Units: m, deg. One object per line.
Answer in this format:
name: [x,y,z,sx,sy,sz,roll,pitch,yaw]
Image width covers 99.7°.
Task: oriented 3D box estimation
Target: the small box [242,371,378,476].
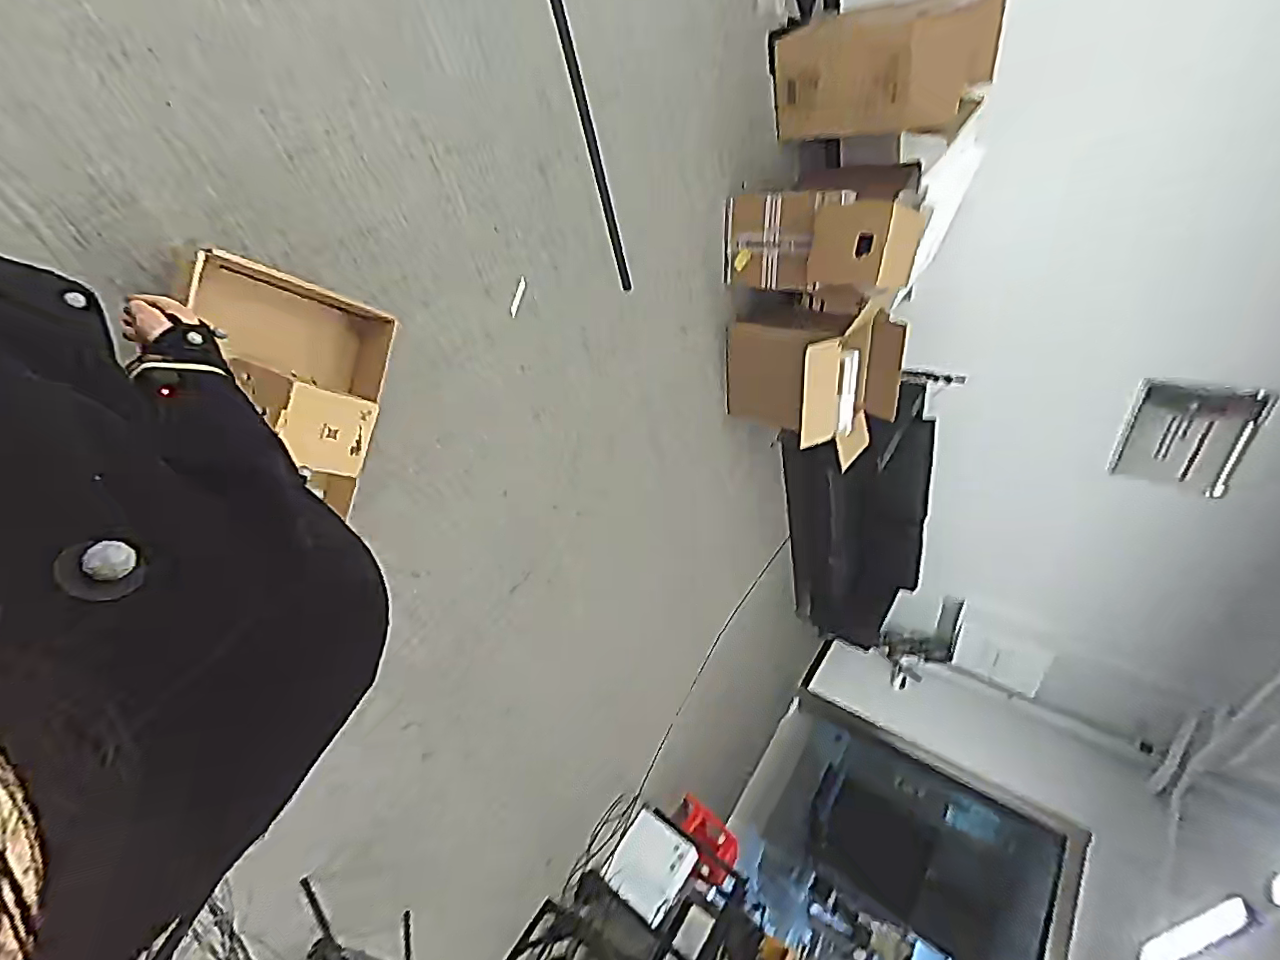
small box: [-0.697,-0.121,1.139,0.179,0.176,0.168,18,92,-55]
